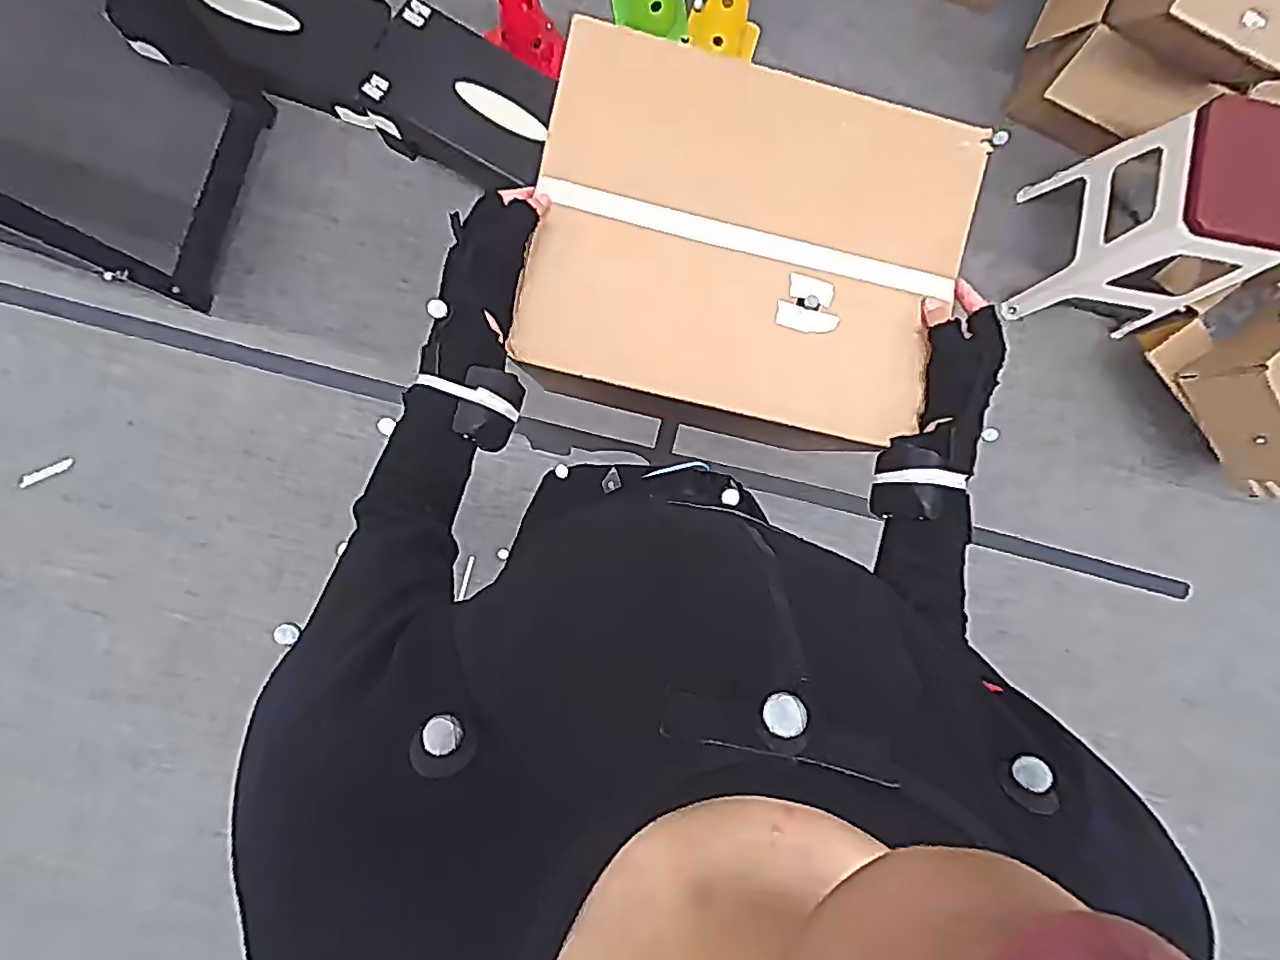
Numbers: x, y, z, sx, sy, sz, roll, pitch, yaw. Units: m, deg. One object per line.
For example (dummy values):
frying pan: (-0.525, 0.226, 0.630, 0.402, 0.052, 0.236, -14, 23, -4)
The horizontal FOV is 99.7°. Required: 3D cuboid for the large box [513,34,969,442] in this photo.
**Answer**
large box: (0.090, -0.238, 0.672, 0.408, 0.320, 0.320, 13, 94, -5)
